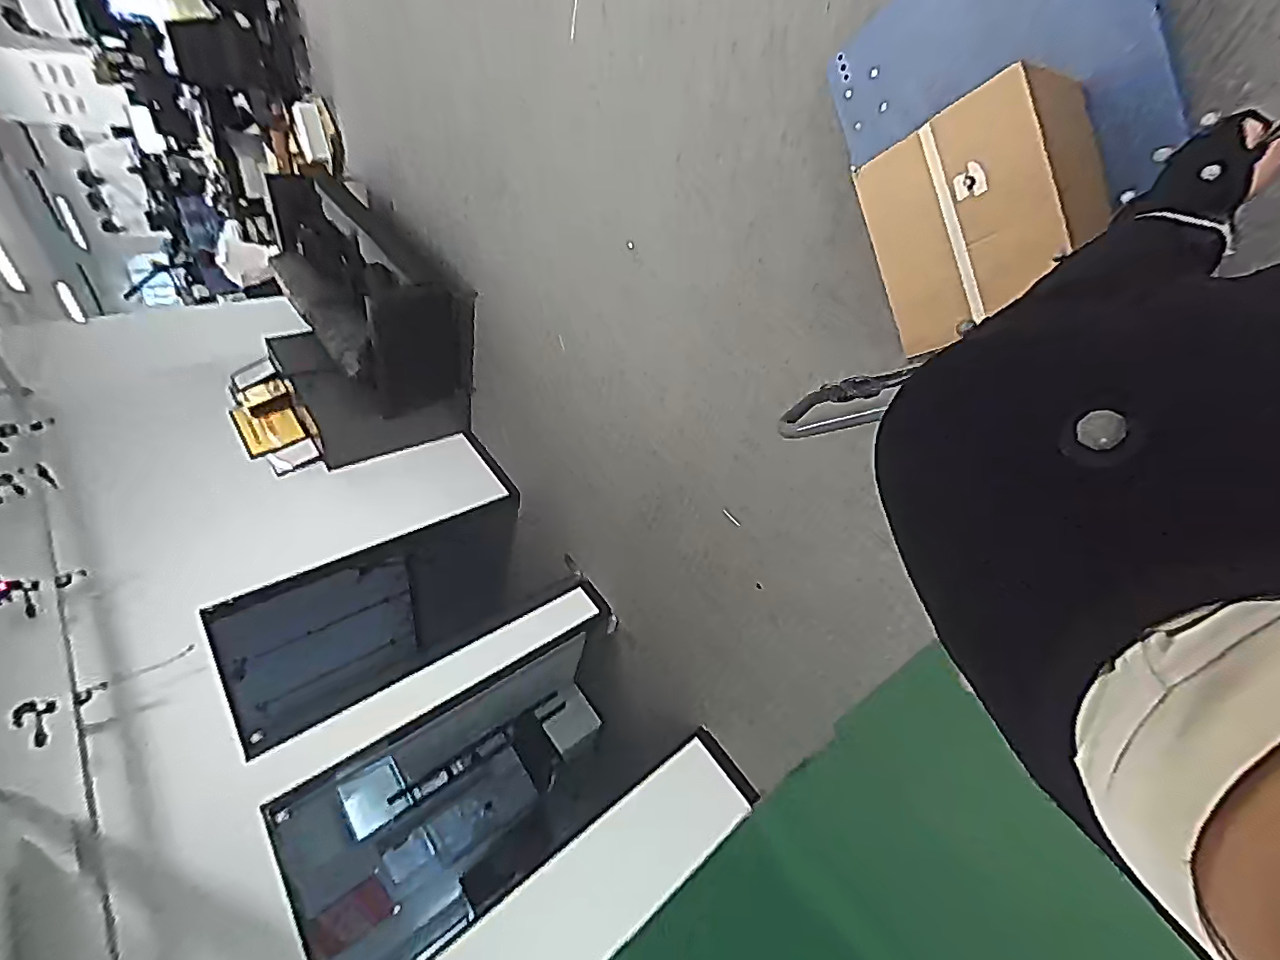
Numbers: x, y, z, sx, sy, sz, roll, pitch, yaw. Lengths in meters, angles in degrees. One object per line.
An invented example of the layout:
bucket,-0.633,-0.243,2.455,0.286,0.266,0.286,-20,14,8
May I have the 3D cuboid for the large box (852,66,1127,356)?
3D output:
large box,0.702,-0.511,1.092,0.320,0.320,0.408,-13,98,55
